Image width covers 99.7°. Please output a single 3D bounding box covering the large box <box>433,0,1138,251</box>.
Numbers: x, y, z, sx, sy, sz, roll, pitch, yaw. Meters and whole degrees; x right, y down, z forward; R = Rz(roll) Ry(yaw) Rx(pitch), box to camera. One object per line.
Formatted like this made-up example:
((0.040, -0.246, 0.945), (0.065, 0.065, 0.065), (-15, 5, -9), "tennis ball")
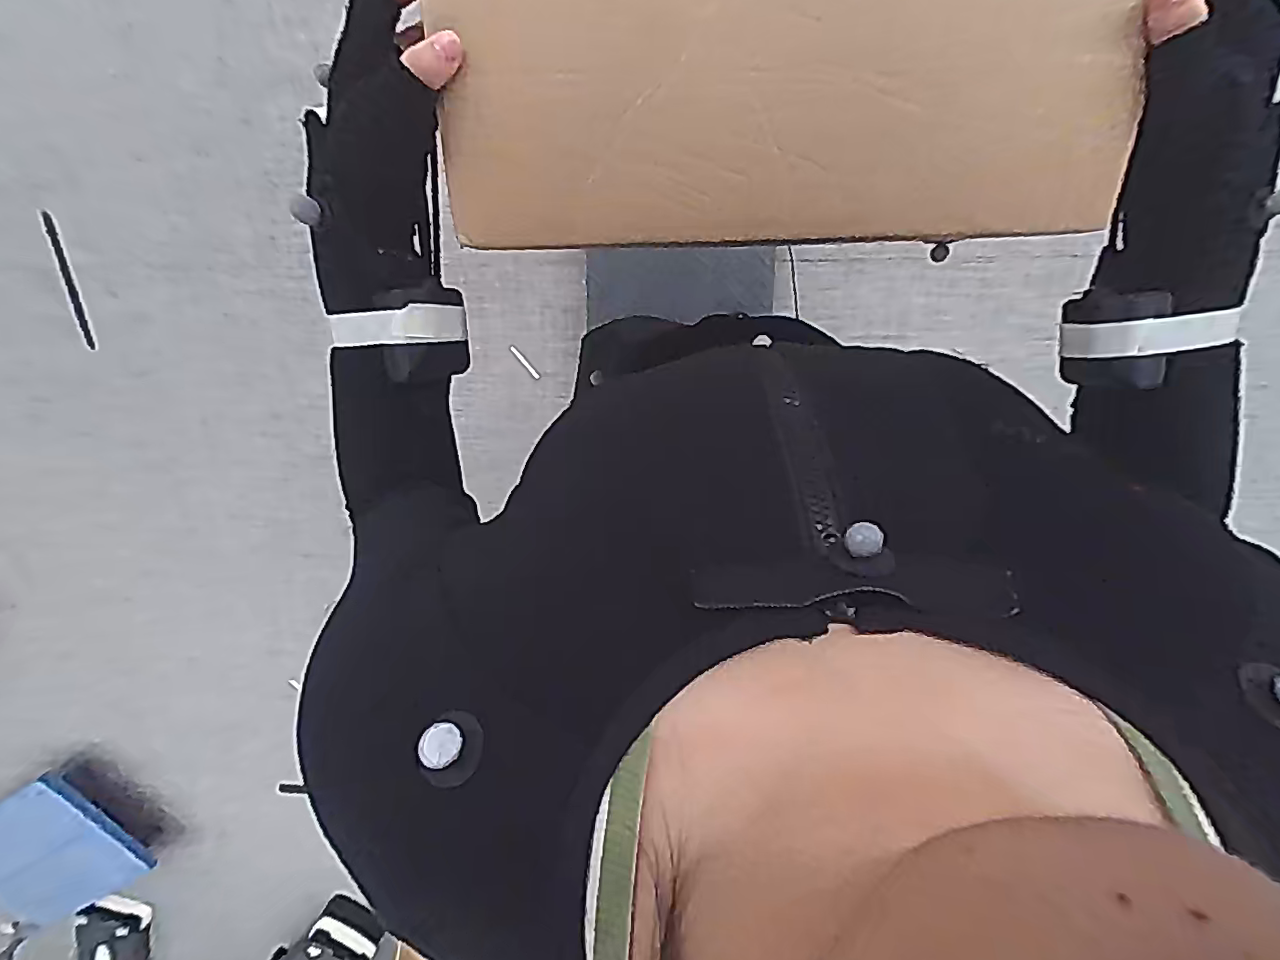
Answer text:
((0.084, -0.358, 0.427), (0.408, 0.320, 0.320), (0, 113, 2), "large box")
